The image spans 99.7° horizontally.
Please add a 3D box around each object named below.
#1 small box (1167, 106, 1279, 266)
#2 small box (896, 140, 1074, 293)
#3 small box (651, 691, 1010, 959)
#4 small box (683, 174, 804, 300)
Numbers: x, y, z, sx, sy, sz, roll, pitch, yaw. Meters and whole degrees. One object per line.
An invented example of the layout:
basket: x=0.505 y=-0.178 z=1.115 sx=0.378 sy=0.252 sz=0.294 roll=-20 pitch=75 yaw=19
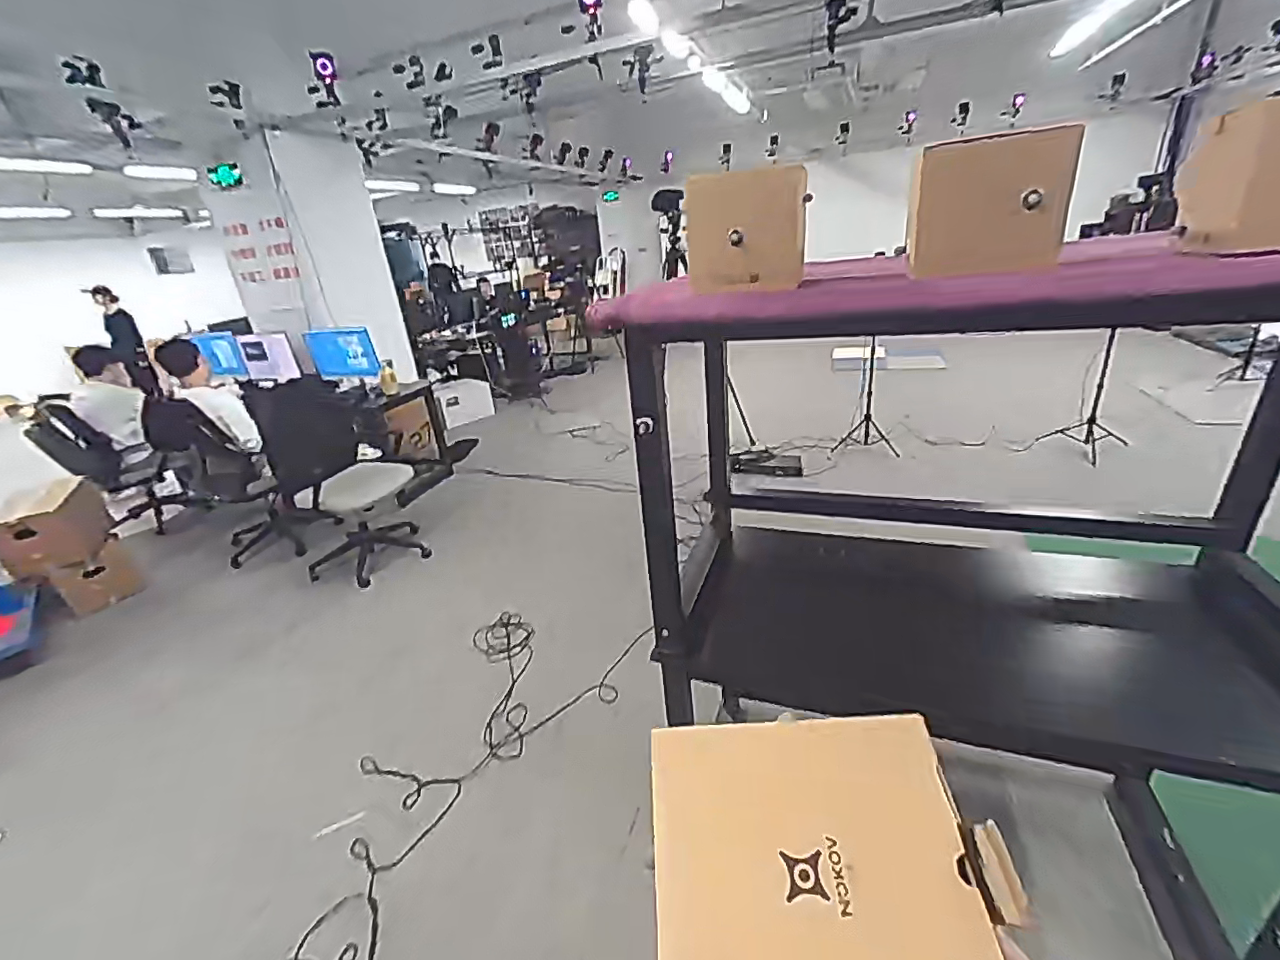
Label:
small box: x=0.812 y=-0.365 z=0.677 sx=0.179 sy=0.176 sz=0.168 roll=4 pitch=23 yaw=22
small box: x=0.479 y=-0.372 z=0.781 sx=0.179 sy=0.176 sz=0.168 roll=2 pitch=24 yaw=20
small box: x=0.104 y=0.259 z=0.364 sx=0.179 sy=0.176 sz=0.168 roll=-5 pitch=47 yaw=4
small box: x=0.175 y=-0.390 z=0.885 sx=0.168 sy=0.176 sz=0.179 roll=4 pitch=25 yaw=19
